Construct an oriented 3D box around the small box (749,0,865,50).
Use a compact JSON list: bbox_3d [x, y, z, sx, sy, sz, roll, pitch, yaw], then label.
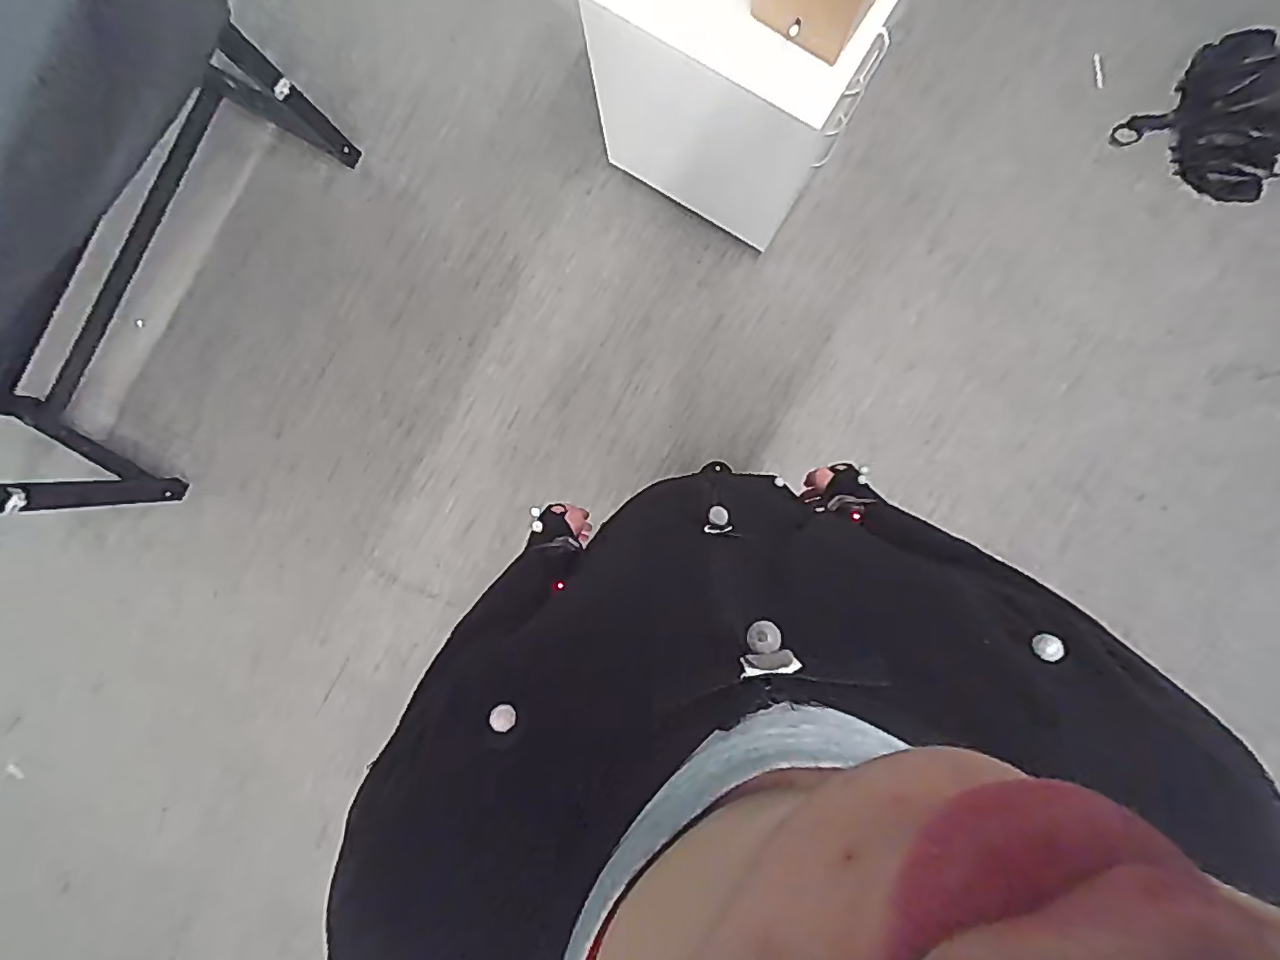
[{"bbox_3d":[0.297,-0.838,0.851,0.179,0.176,0.168,33,93,-1],"label":"small box"}]
